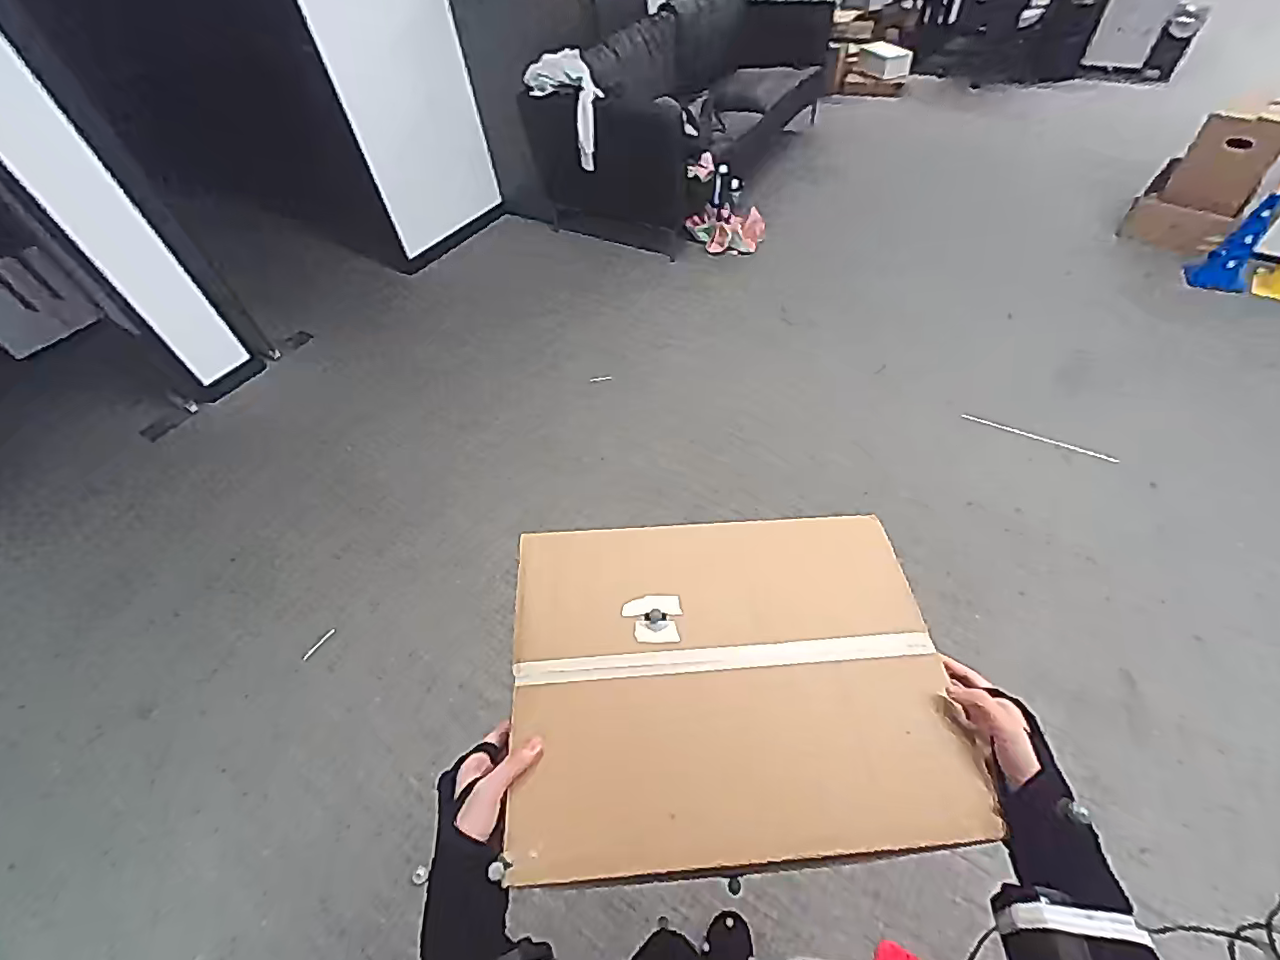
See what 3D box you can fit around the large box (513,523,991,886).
[{"bbox_3d":[0.085,0.273,0.643,0.408,0.320,0.320,-3,52,-3],"label":"large box"}]
